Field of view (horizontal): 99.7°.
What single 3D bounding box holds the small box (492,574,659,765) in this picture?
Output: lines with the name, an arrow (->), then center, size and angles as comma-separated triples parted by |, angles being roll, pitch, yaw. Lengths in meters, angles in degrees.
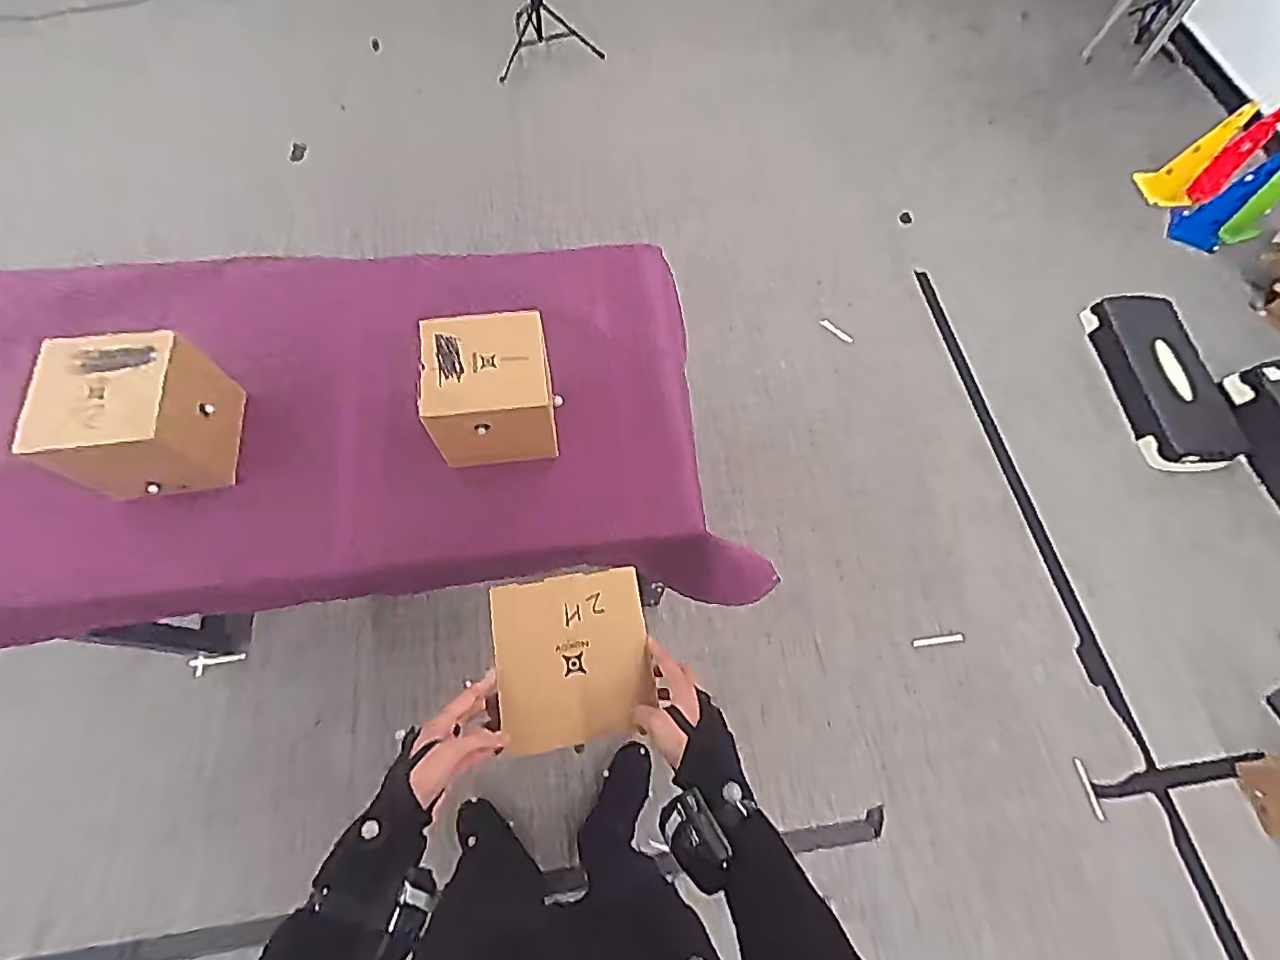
small box -> -0.080, 0.225, 0.652 | 0.168, 0.176, 0.179 | -6, 69, -10

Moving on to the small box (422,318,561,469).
small box -> -0.222, -0.127, 0.839 | 0.179, 0.176, 0.168 | -6, 67, -7
